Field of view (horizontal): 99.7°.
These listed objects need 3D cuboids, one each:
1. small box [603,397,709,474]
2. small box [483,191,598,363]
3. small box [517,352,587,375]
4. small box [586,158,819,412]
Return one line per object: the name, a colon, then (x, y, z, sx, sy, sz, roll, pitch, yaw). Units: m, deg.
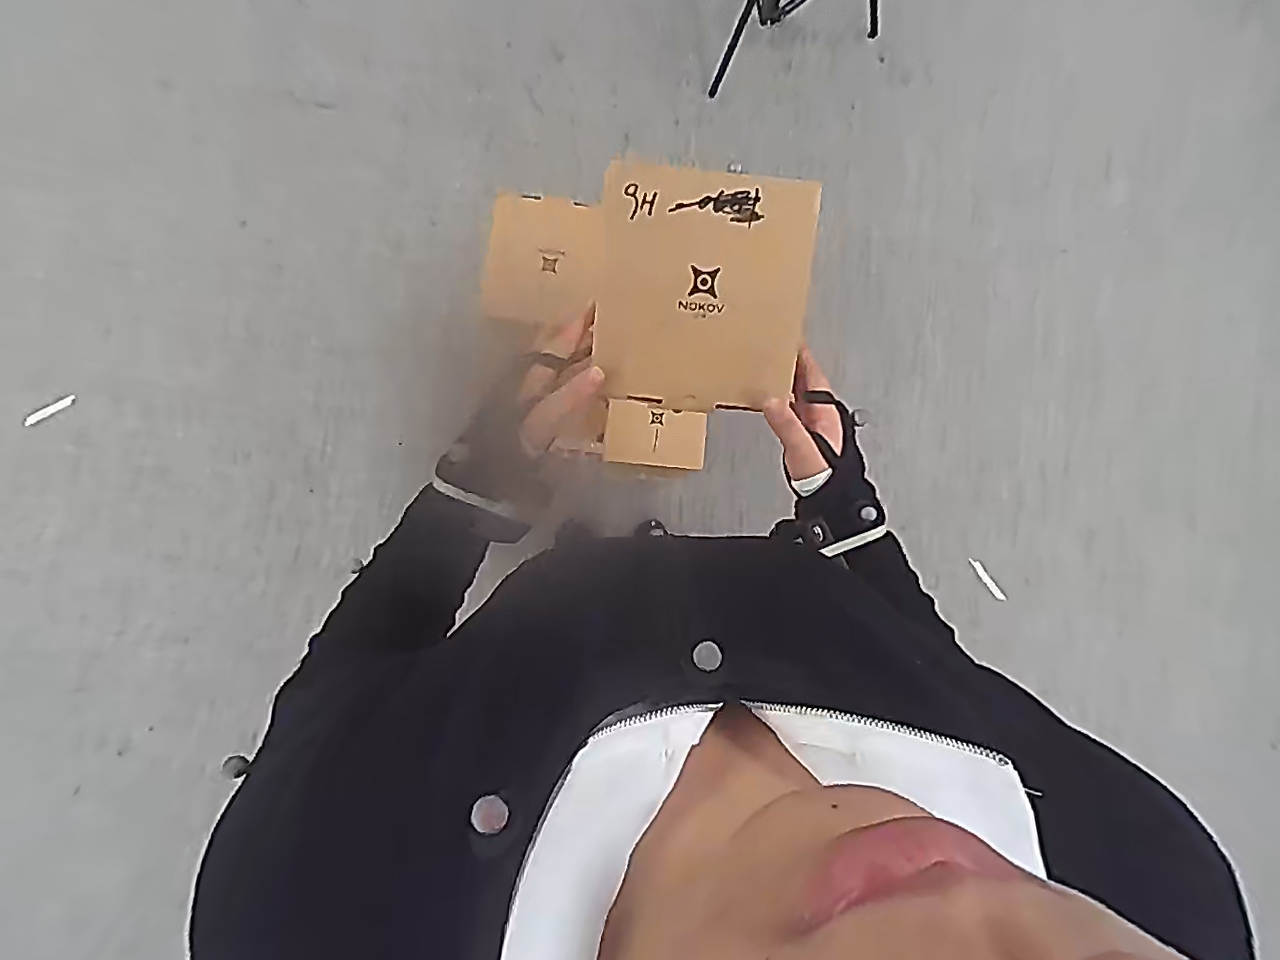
small box: (0.023, -0.108, 0.967, 0.168, 0.176, 0.179, 5, 87, -5)
small box: (-0.123, -0.289, 0.802, 0.168, 0.176, 0.179, 6, 87, -3)
small box: (-0.138, -0.301, 0.965, 0.168, 0.176, 0.179, 7, 87, -3)
small box: (0.044, -0.168, 0.497, 0.168, 0.176, 0.179, 5, 105, -3)
